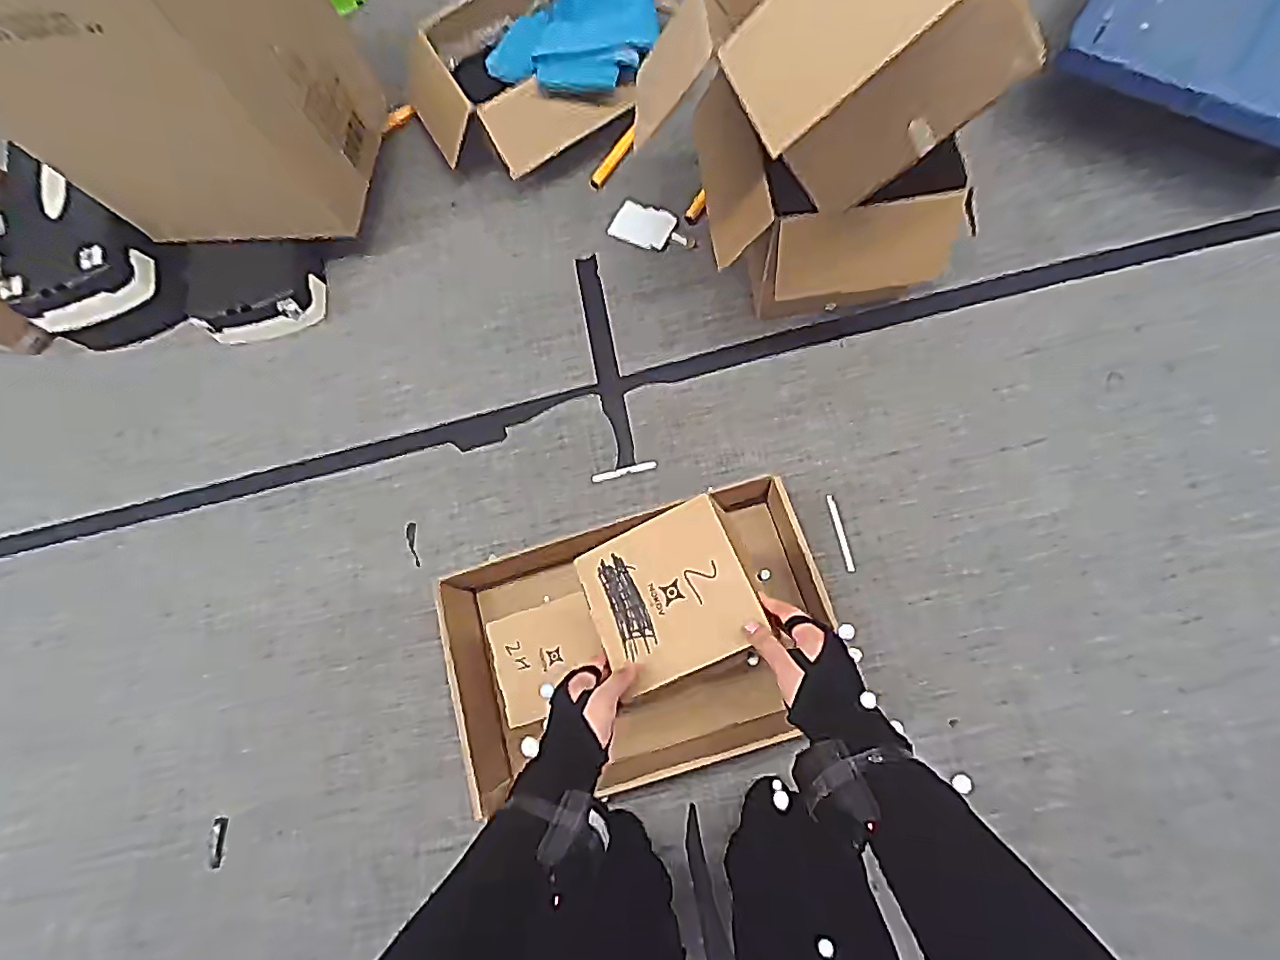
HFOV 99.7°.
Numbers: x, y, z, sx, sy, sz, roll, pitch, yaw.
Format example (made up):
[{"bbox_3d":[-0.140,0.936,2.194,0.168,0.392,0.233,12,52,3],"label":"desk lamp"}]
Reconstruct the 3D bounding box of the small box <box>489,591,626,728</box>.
[{"bbox_3d":[-0.129,0.298,0.919,0.179,0.176,0.168,-19,73,0],"label":"small box"}]

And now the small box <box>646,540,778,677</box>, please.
[{"bbox_3d":[0.117,0.217,0.913,0.168,0.176,0.179,-18,74,3],"label":"small box"}]
